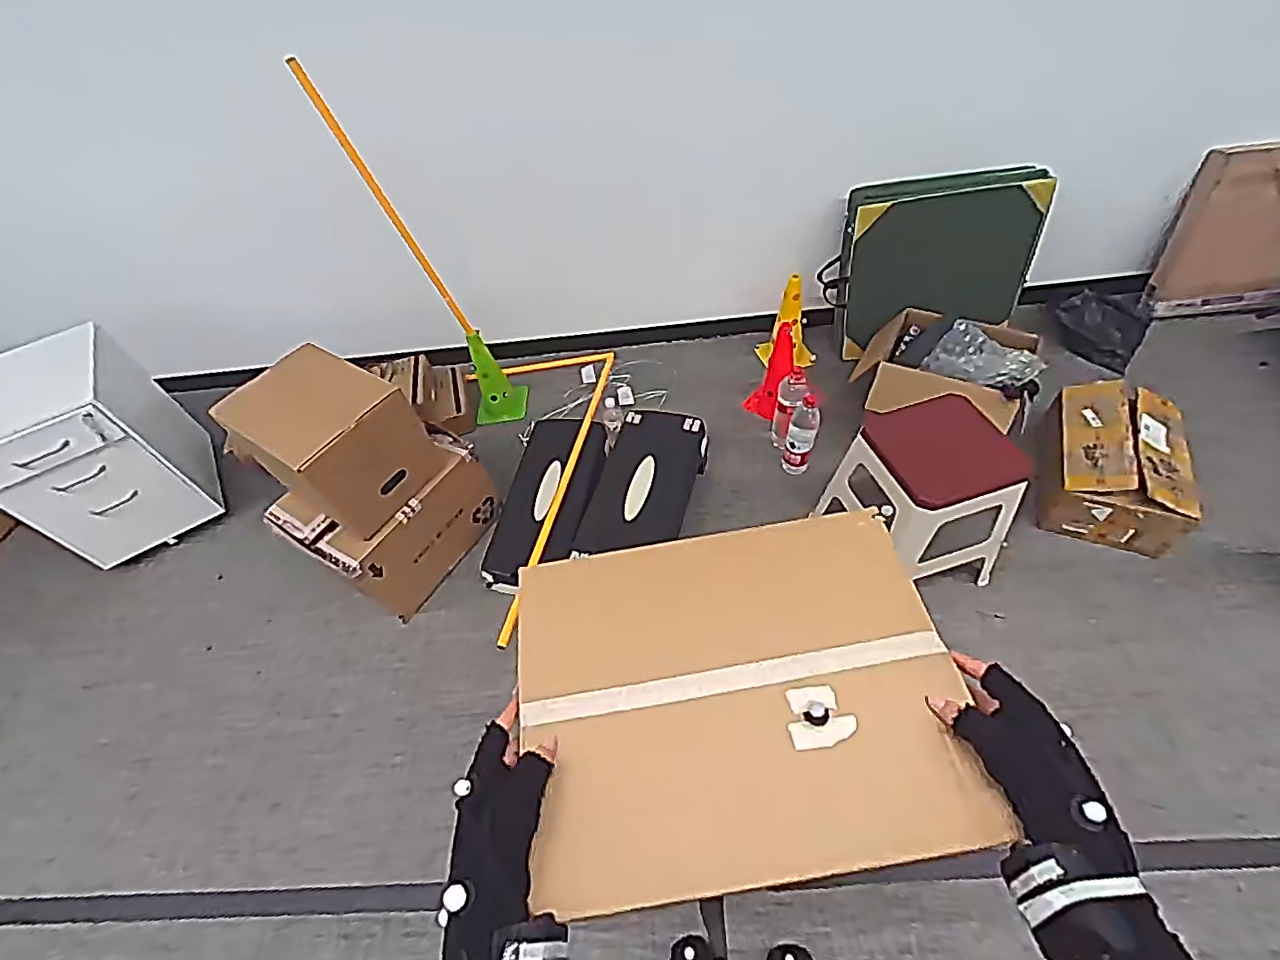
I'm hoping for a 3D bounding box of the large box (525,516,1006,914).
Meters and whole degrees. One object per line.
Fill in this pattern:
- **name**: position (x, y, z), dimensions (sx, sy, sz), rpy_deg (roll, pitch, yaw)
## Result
- **large box**: position (0.098, 0.283, 0.645), dimensions (0.408, 0.320, 0.320), rpy_deg (-9, 54, 0)
